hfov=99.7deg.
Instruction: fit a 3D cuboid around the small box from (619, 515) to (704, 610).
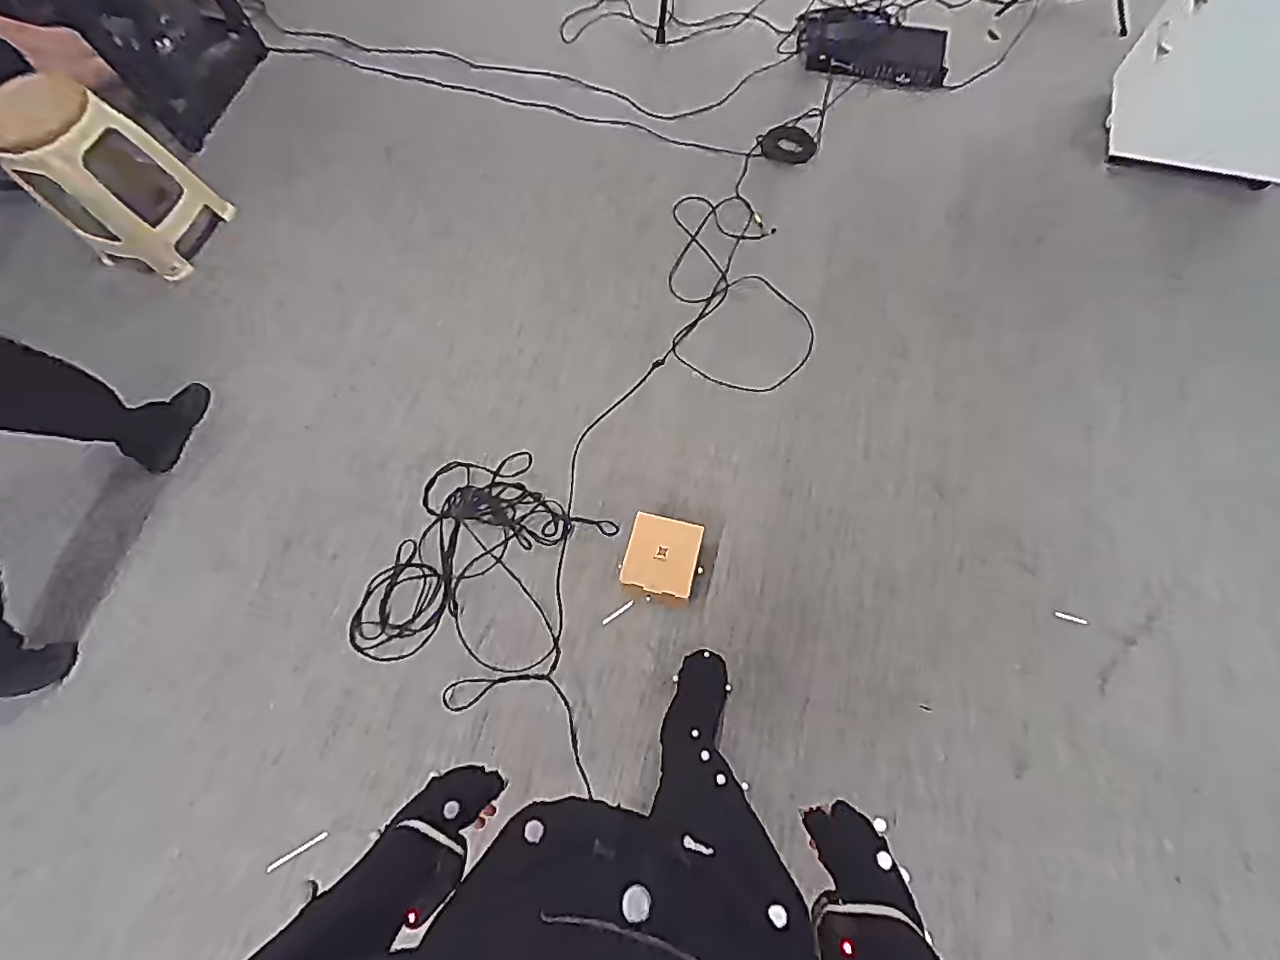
[{"bbox_3d":[0.054,0.206,1.324,0.168,0.176,0.179,13,71,9],"label":"small box"}]
